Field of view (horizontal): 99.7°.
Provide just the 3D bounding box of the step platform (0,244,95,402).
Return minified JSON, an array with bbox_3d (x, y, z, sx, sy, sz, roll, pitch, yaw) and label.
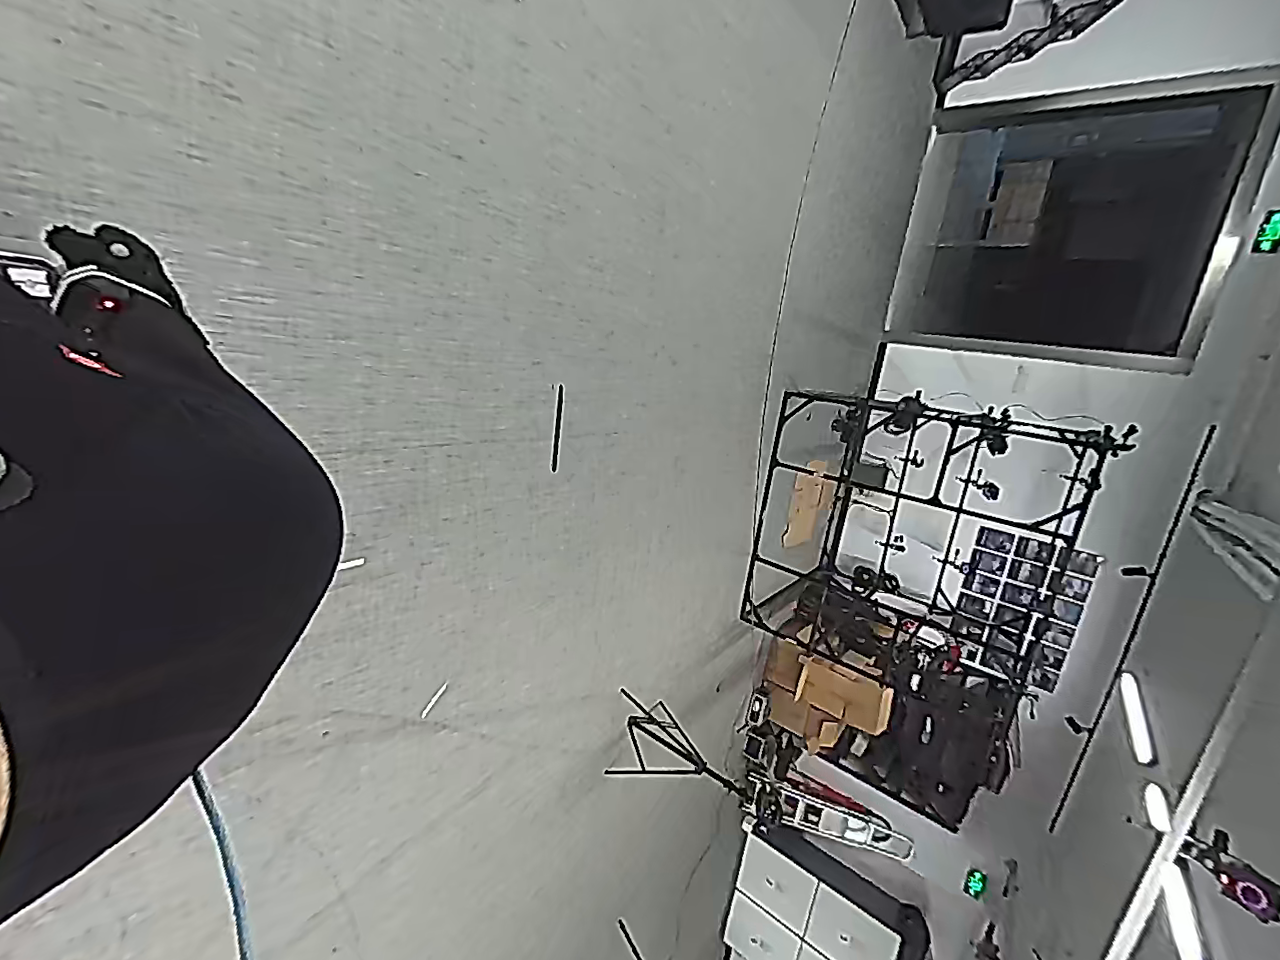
[{"bbox_3d":[-1.344,-0.270,0.852,0.684,0.204,0.286,-13,115,-53],"label":"step platform"}]
